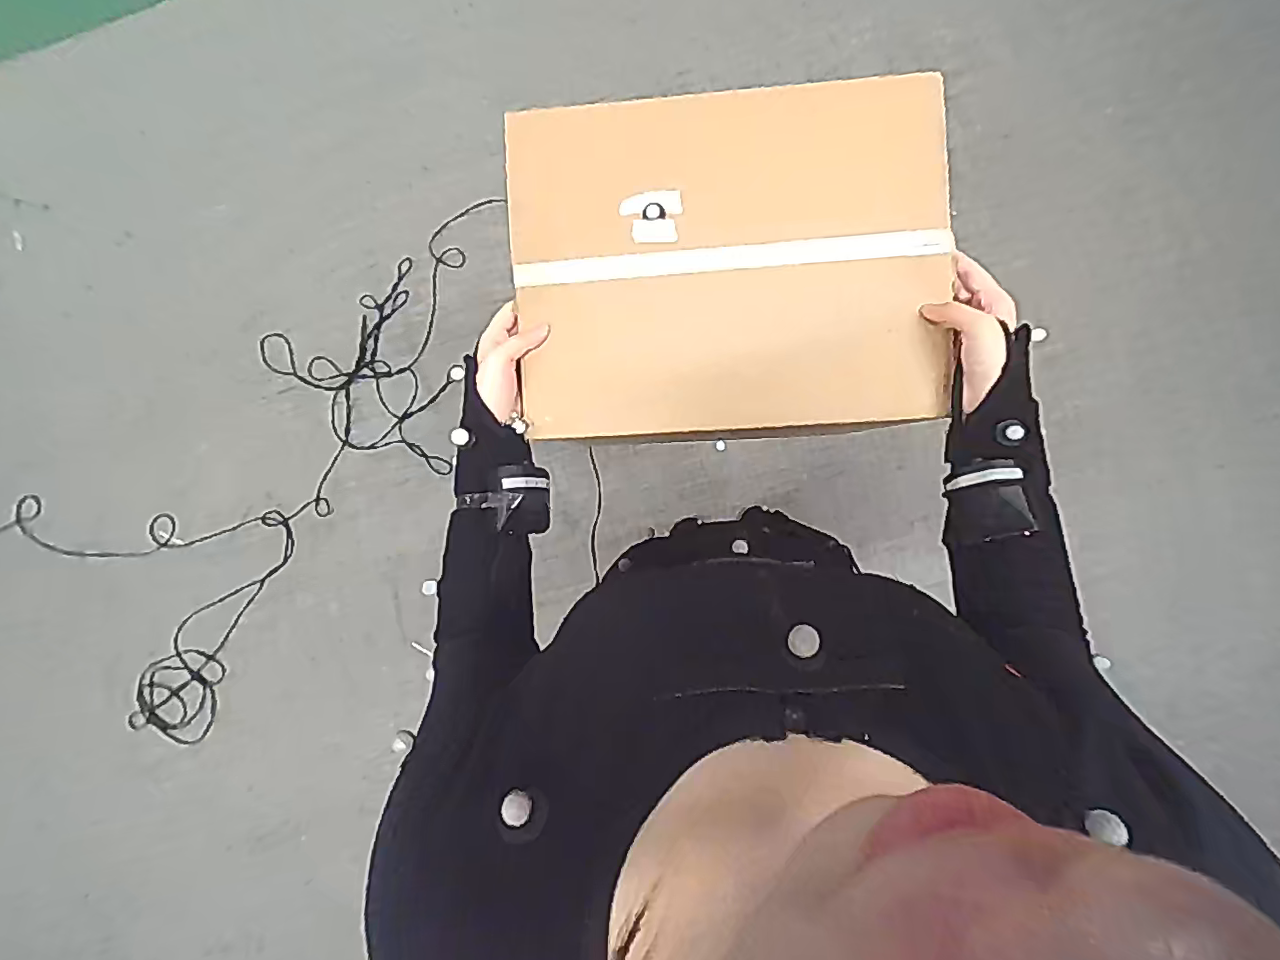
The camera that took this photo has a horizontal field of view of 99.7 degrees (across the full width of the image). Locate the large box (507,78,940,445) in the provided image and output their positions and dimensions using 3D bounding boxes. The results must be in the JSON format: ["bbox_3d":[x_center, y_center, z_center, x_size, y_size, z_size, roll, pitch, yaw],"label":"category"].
[{"bbox_3d":[0.091,-0.212,0.669,0.408,0.320,0.320,-4,92,6],"label":"large box"}]
